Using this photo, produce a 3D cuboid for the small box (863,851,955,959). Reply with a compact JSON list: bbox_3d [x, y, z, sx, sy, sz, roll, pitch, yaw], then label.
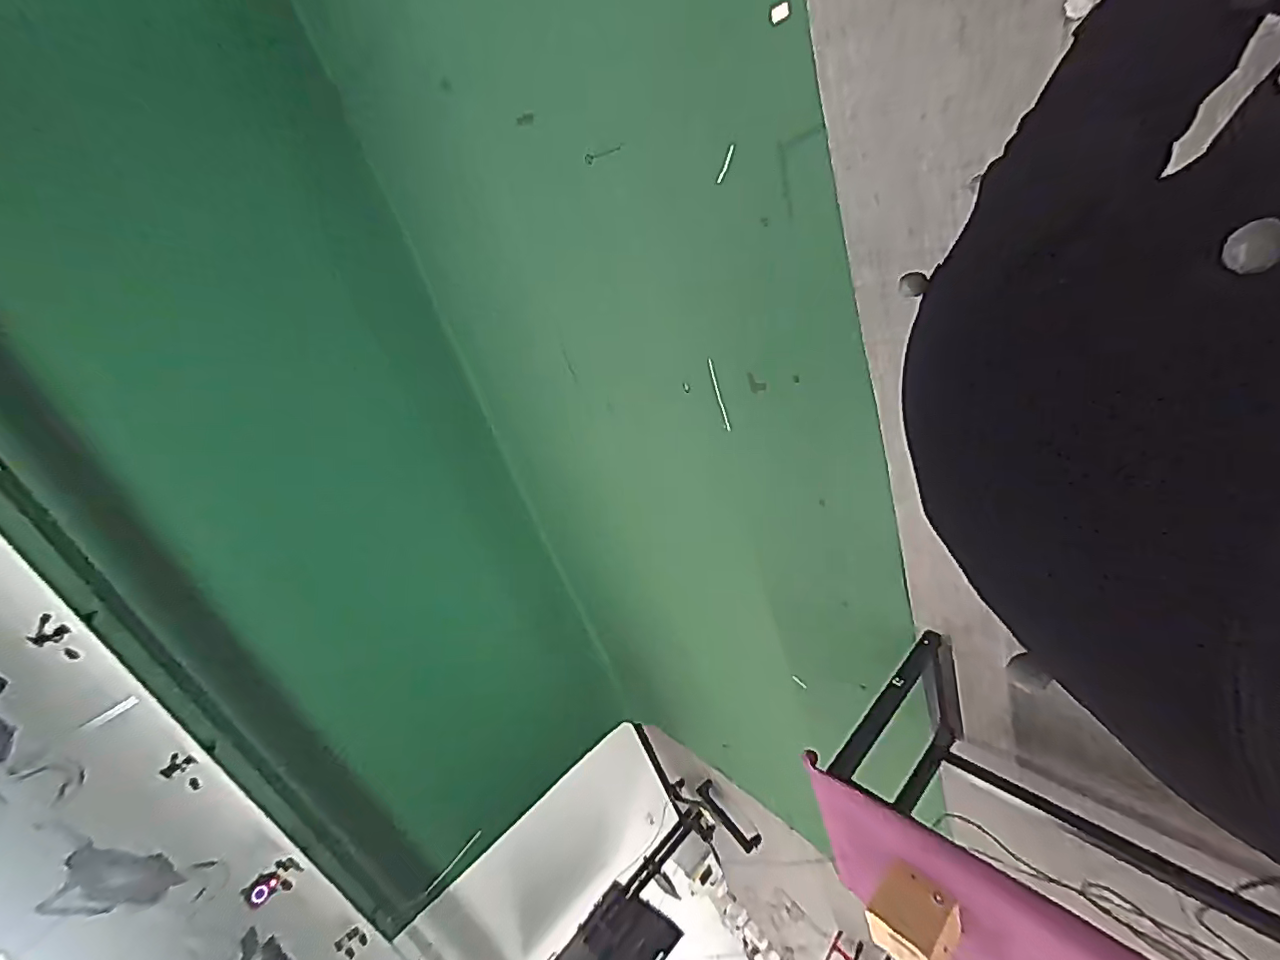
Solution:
[{"bbox_3d":[0.723,1.155,1.452,0.168,0.176,0.179,19,135,49],"label":"small box"}]
